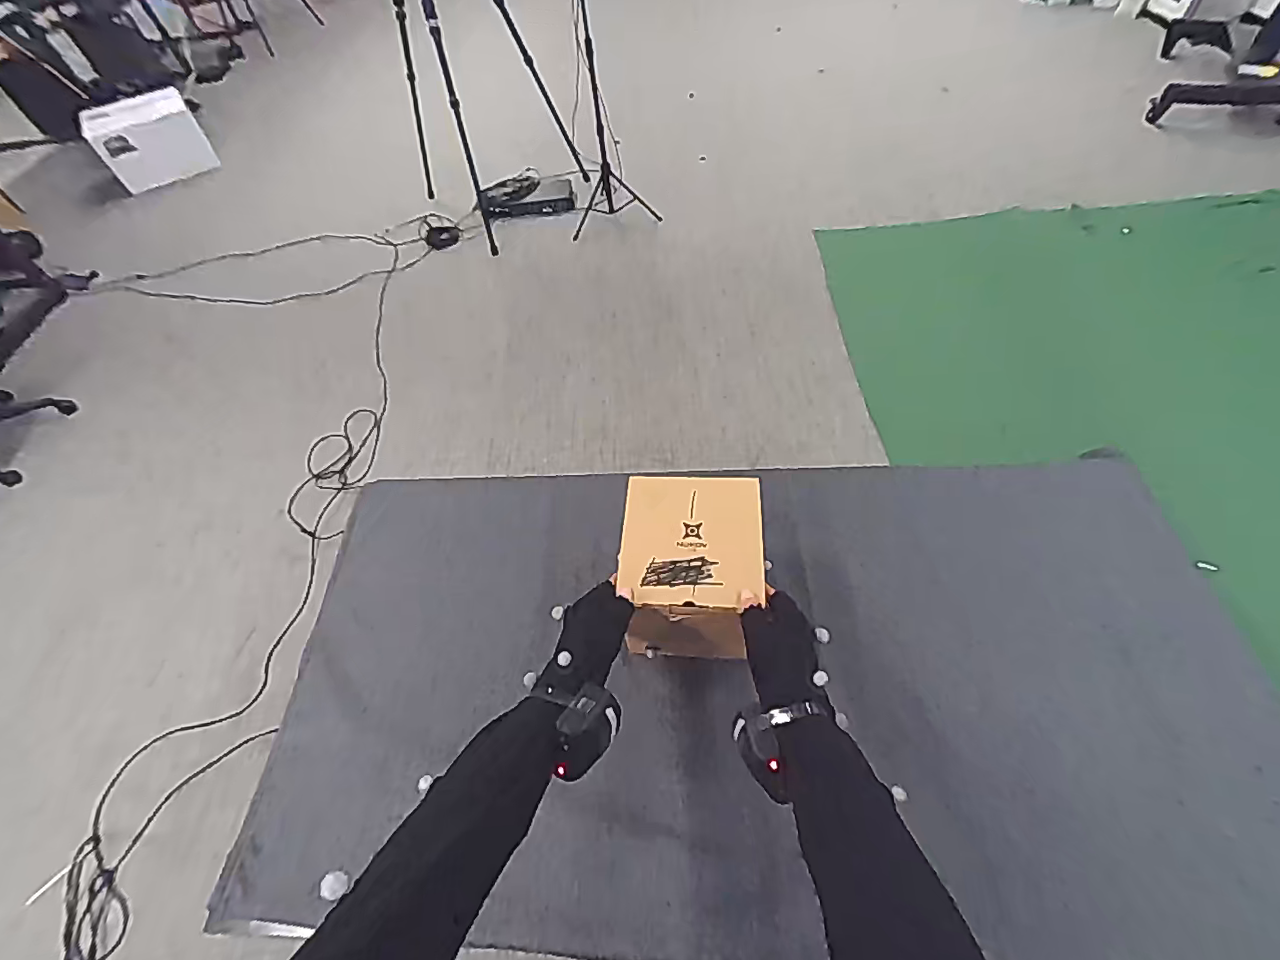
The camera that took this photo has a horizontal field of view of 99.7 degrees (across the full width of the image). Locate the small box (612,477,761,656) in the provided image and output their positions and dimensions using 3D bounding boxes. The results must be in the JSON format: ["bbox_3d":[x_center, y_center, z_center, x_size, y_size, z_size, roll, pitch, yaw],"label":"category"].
[{"bbox_3d":[0.065,0.115,0.696,0.168,0.176,0.179,1,54,7],"label":"small box"}]
